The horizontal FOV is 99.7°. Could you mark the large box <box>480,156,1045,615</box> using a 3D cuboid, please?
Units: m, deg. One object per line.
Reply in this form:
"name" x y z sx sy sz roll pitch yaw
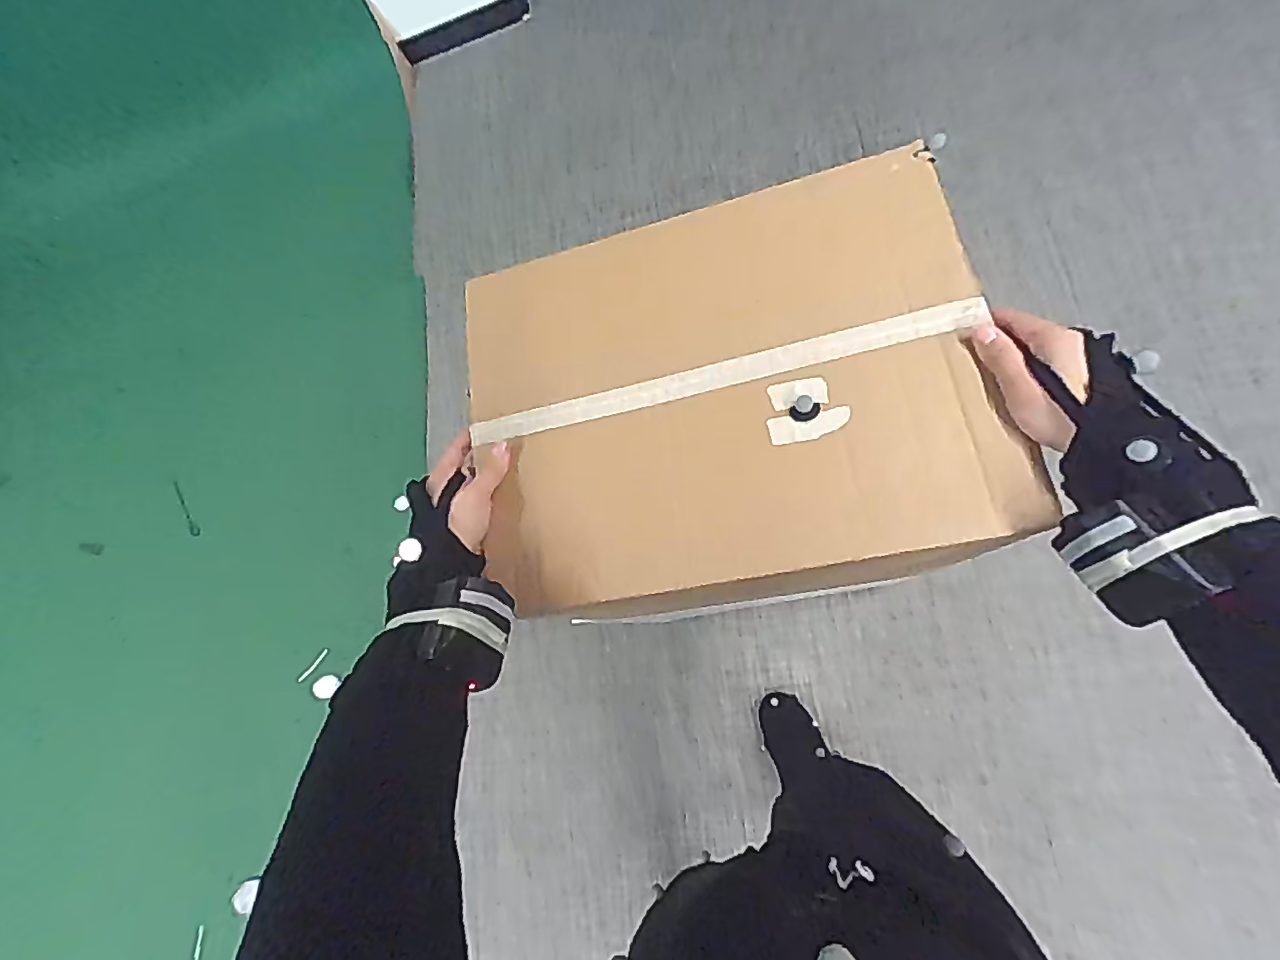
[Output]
"large box" 0.092 -0.044 0.575 0.408 0.320 0.320 -12 74 11
